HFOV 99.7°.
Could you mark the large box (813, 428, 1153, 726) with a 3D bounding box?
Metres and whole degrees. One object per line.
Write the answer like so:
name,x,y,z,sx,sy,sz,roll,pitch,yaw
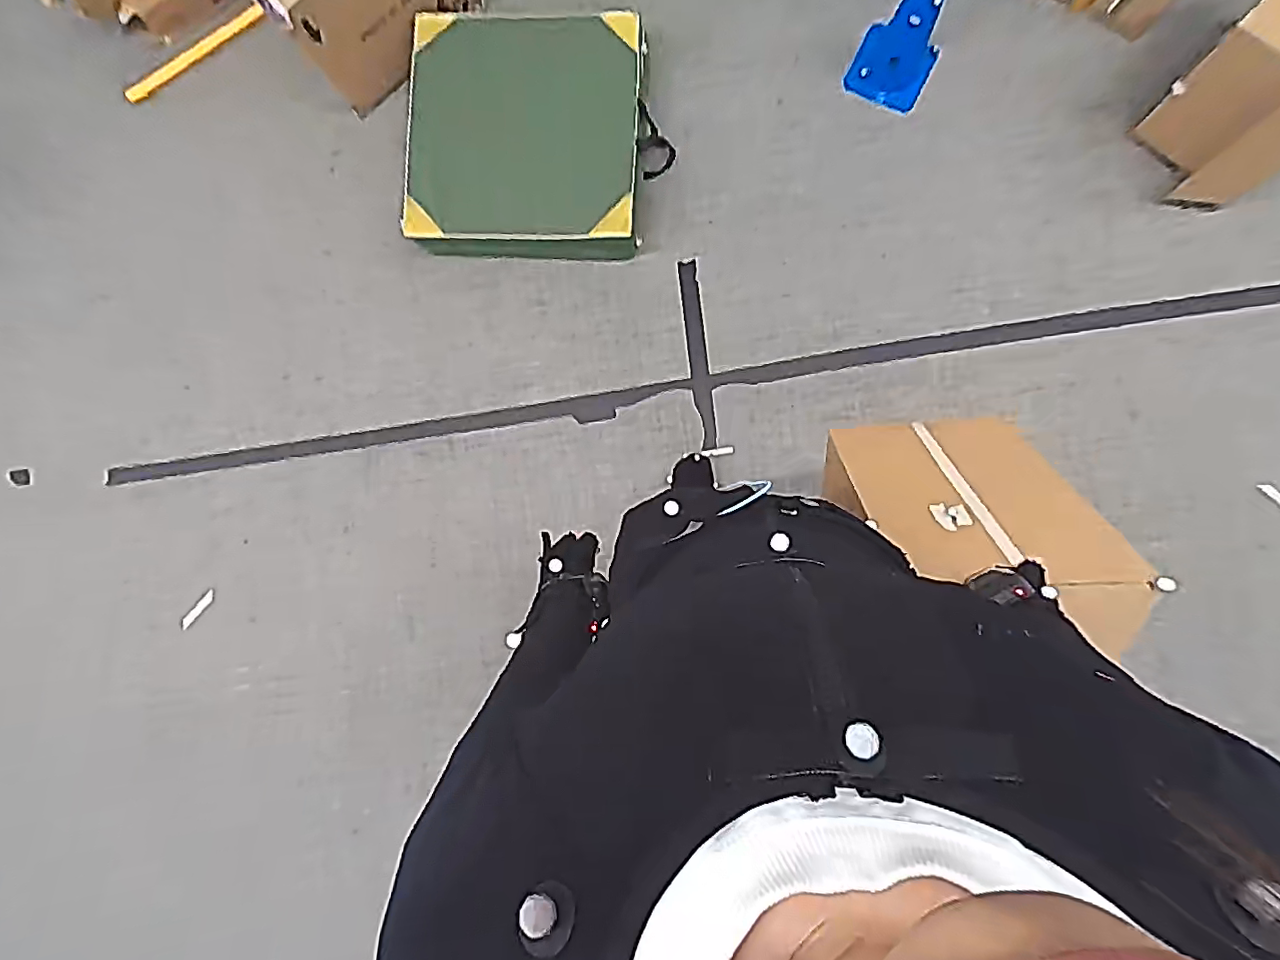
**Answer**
large box,0.502,0.149,0.921,0.320,0.408,0.320,-3,126,7
